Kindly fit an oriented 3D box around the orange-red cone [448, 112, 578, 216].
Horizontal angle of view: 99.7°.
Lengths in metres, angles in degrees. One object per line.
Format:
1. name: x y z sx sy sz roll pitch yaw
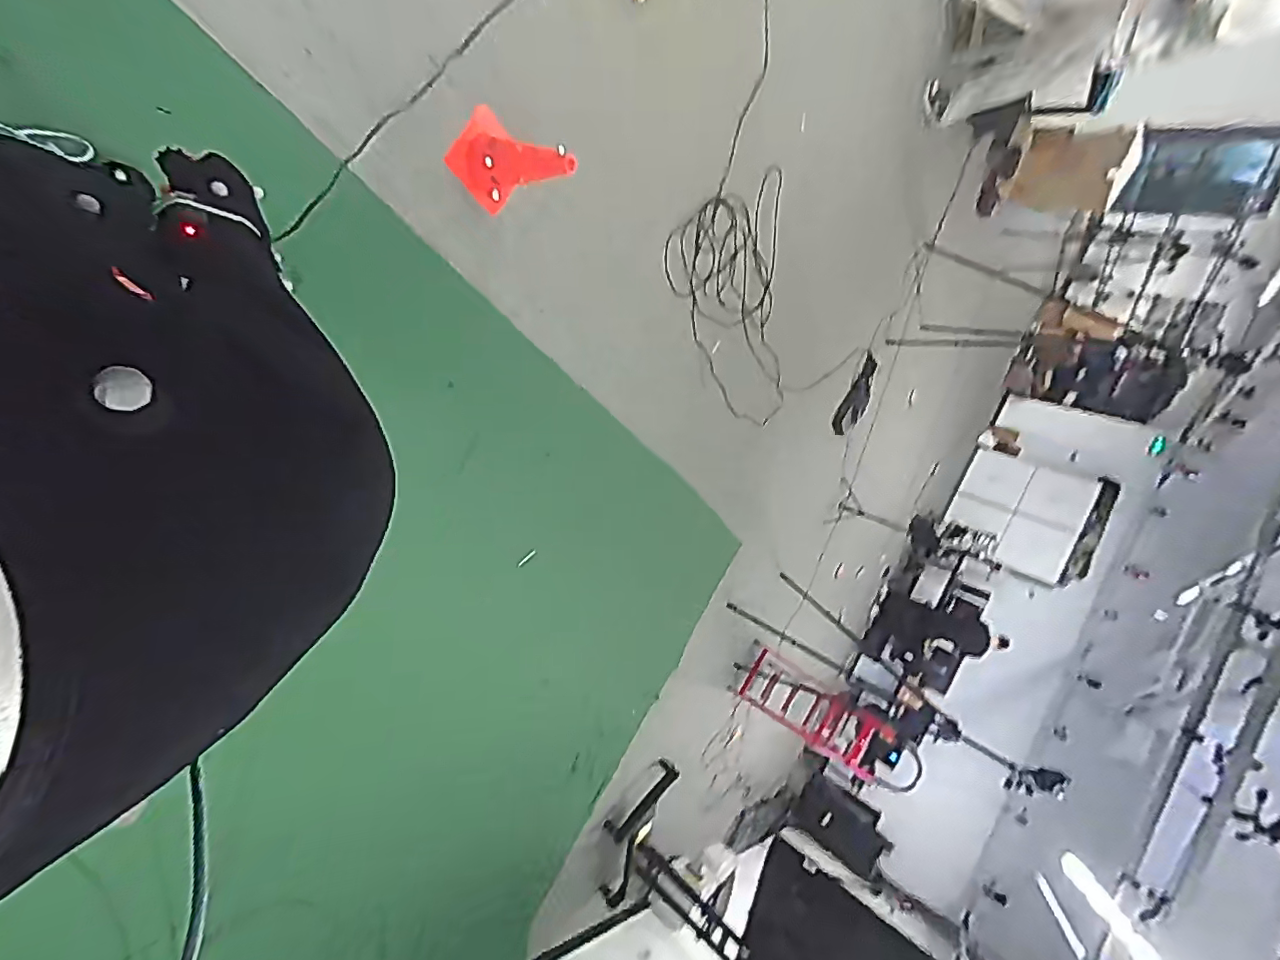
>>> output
1. orange-red cone: -0.293 -0.818 1.404 0.199 0.360 0.198 -61 144 -7
